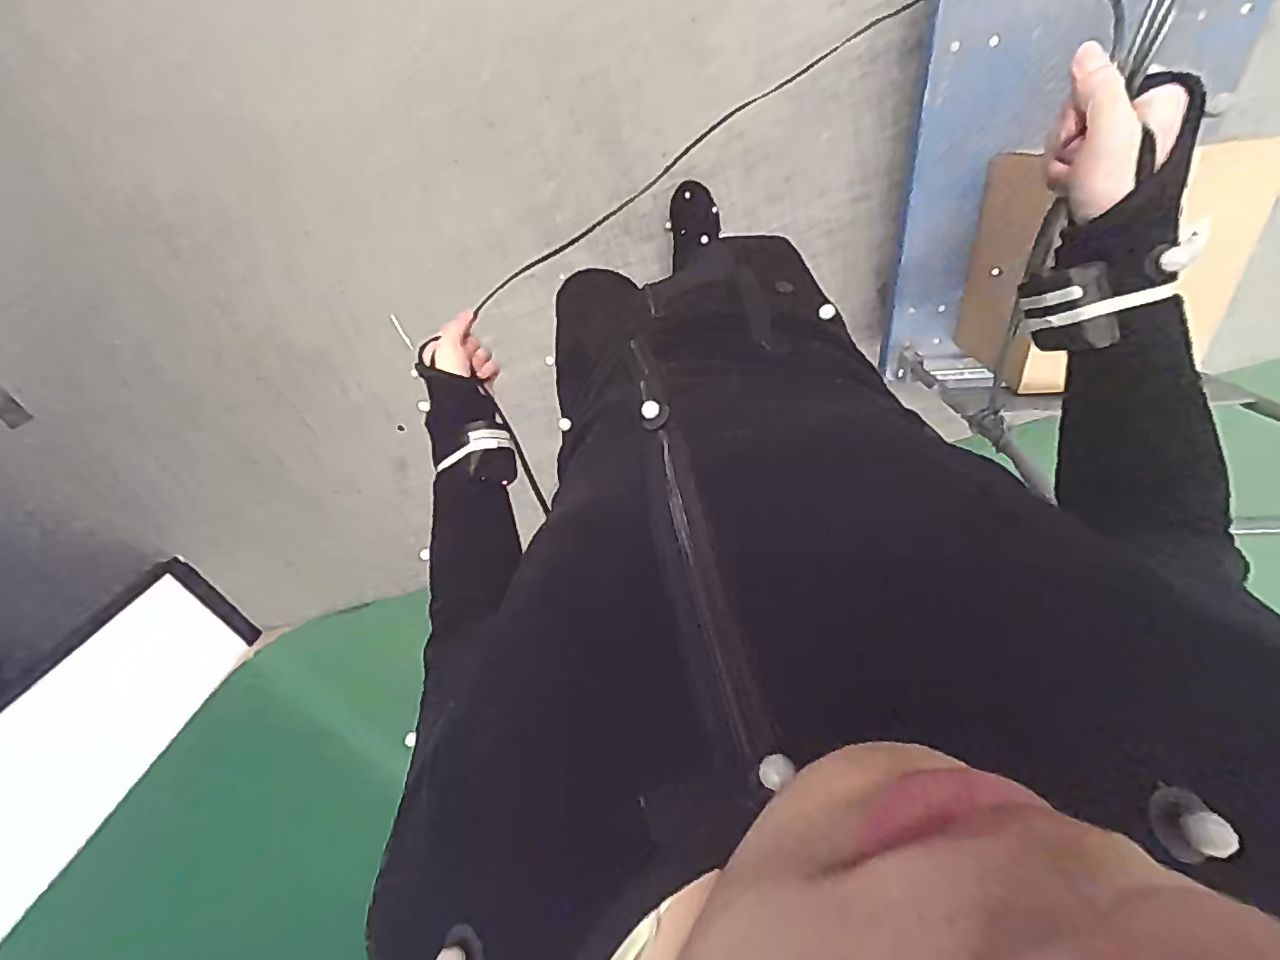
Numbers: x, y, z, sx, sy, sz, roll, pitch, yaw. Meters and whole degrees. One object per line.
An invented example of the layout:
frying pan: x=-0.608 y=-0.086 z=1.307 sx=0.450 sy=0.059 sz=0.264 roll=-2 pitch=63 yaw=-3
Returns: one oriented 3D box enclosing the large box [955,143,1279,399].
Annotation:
large box: x=0.874 y=-0.412 z=1.073 sx=0.320 sy=0.320 sz=0.408 roll=-3 pitch=121 yaw=7
